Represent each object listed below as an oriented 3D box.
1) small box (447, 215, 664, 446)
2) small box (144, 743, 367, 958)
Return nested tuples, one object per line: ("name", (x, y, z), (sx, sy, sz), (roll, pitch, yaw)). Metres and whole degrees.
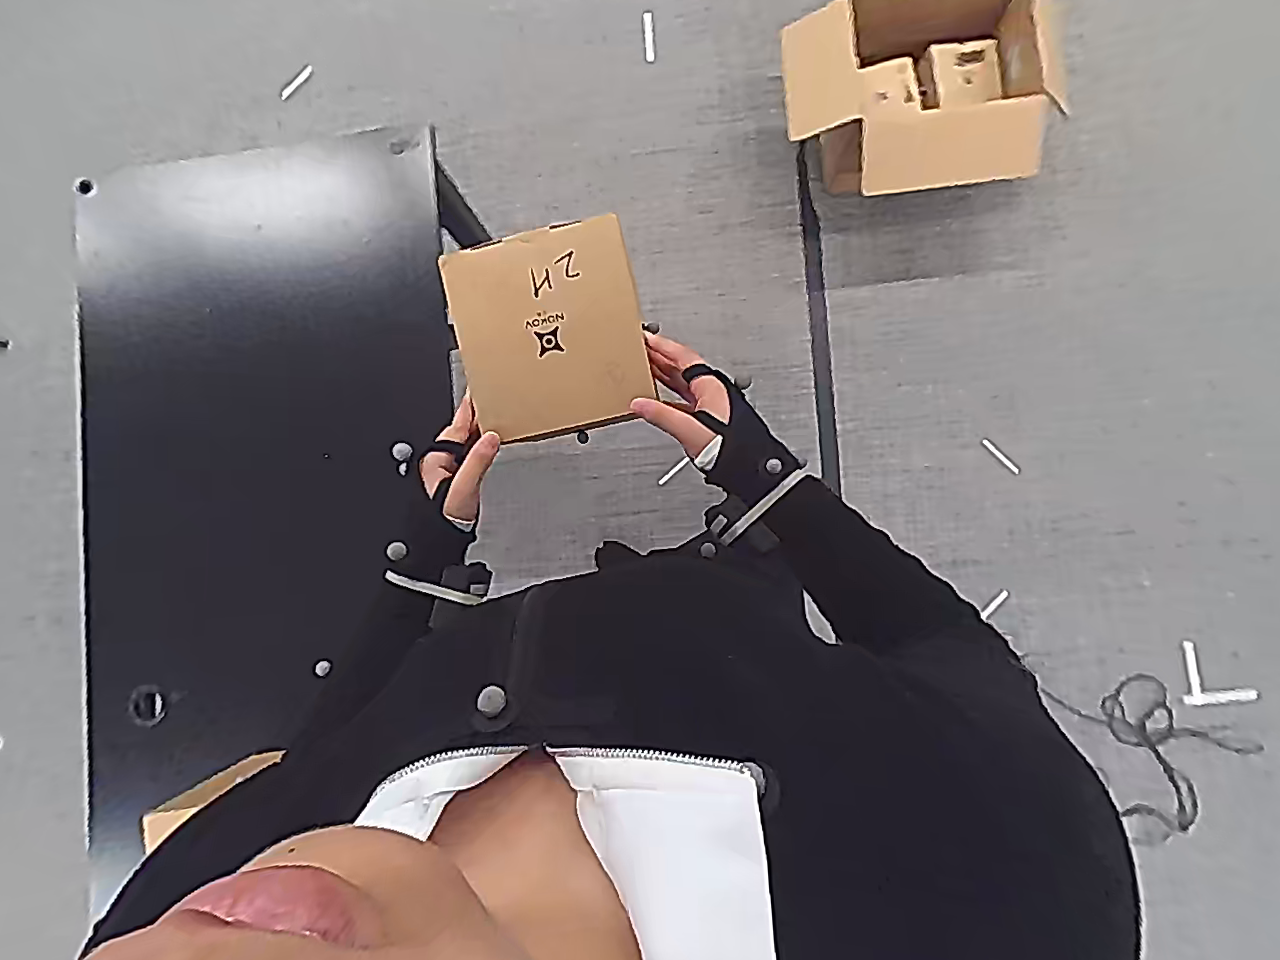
("small box", (-0.070, -0.138, 0.558), (0.168, 0.176, 0.179), (-11, 94, 5))
("small box", (-0.485, 0.467, 0.710), (0.179, 0.176, 0.168), (-11, 85, 5))
